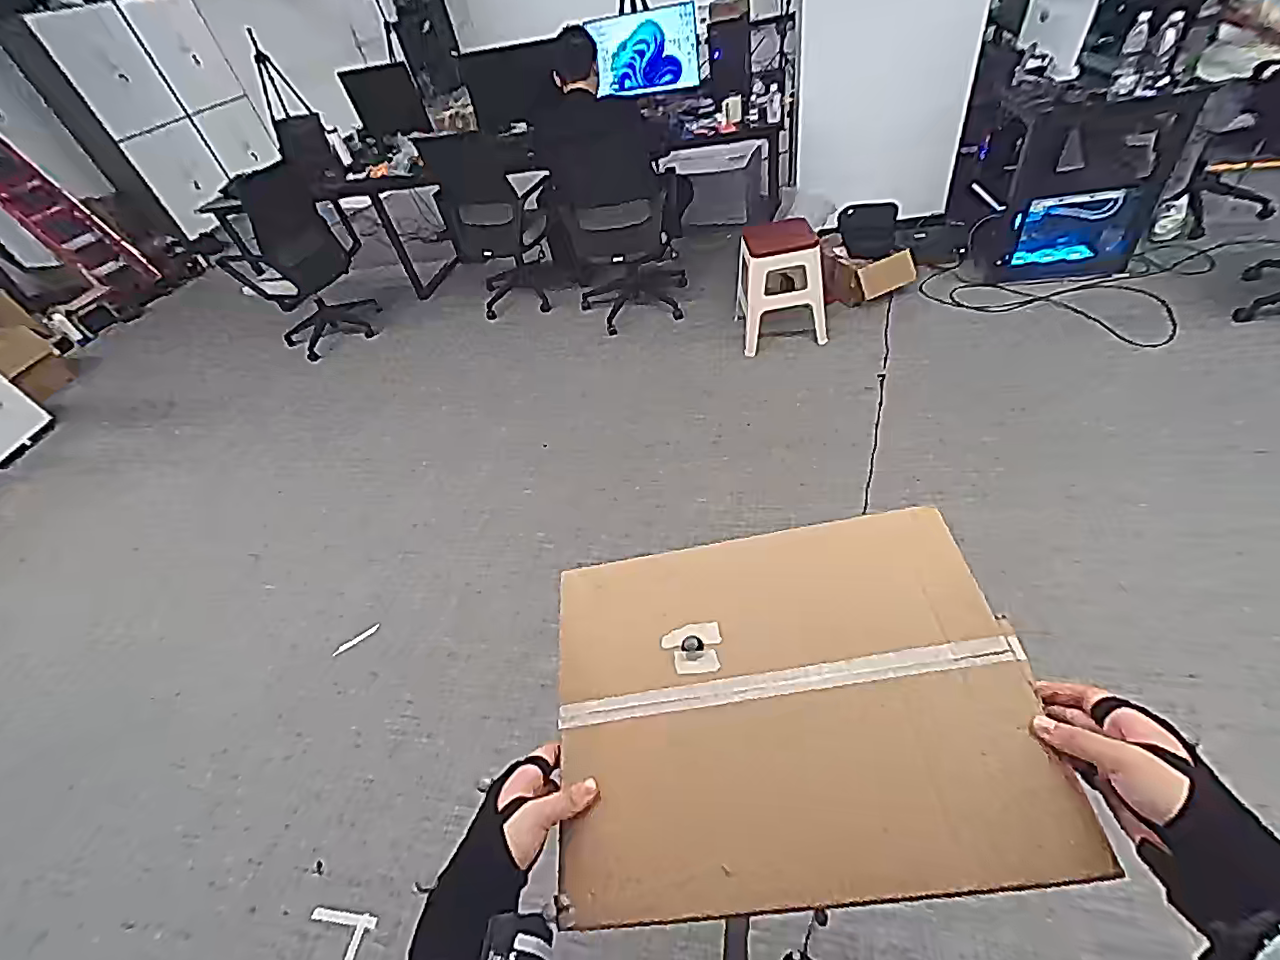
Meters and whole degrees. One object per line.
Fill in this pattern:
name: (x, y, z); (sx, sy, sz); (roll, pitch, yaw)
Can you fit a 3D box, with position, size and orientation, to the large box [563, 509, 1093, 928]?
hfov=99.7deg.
large box: (0.156, 0.279, 0.613); (0.408, 0.320, 0.320); (-13, 50, 8)
